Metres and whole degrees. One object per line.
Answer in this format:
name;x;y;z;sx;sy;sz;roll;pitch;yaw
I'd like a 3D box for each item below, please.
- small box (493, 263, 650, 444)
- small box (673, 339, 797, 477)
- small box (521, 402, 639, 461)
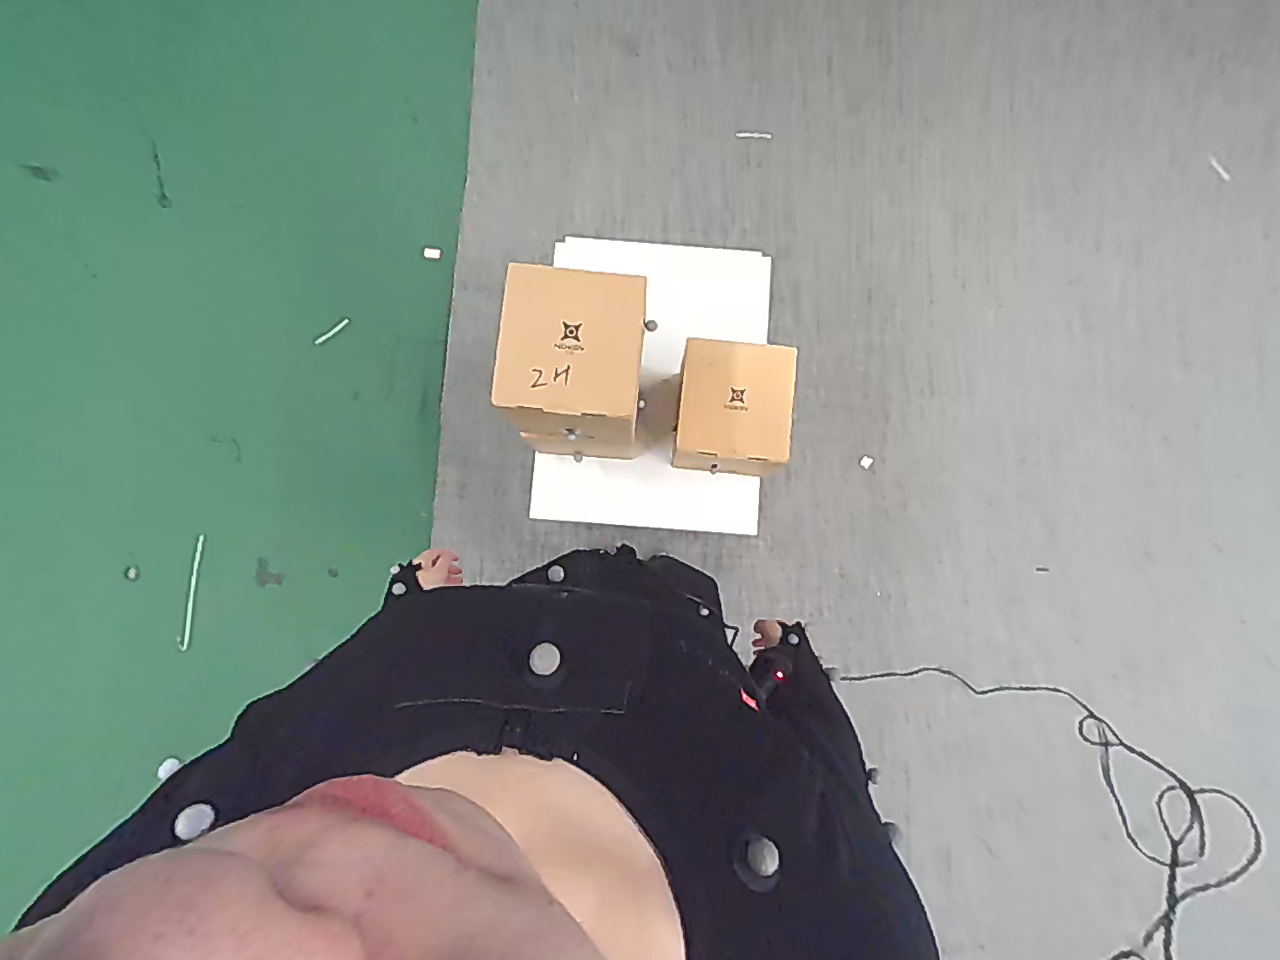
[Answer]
small box;-0.081;-0.155;0.709;0.168;0.176;0.179;6;84;0
small box;0.144;-0.107;0.871;0.168;0.176;0.179;6;84;2
small box;-0.086;-0.134;0.873;0.168;0.176;0.179;5;85;0
